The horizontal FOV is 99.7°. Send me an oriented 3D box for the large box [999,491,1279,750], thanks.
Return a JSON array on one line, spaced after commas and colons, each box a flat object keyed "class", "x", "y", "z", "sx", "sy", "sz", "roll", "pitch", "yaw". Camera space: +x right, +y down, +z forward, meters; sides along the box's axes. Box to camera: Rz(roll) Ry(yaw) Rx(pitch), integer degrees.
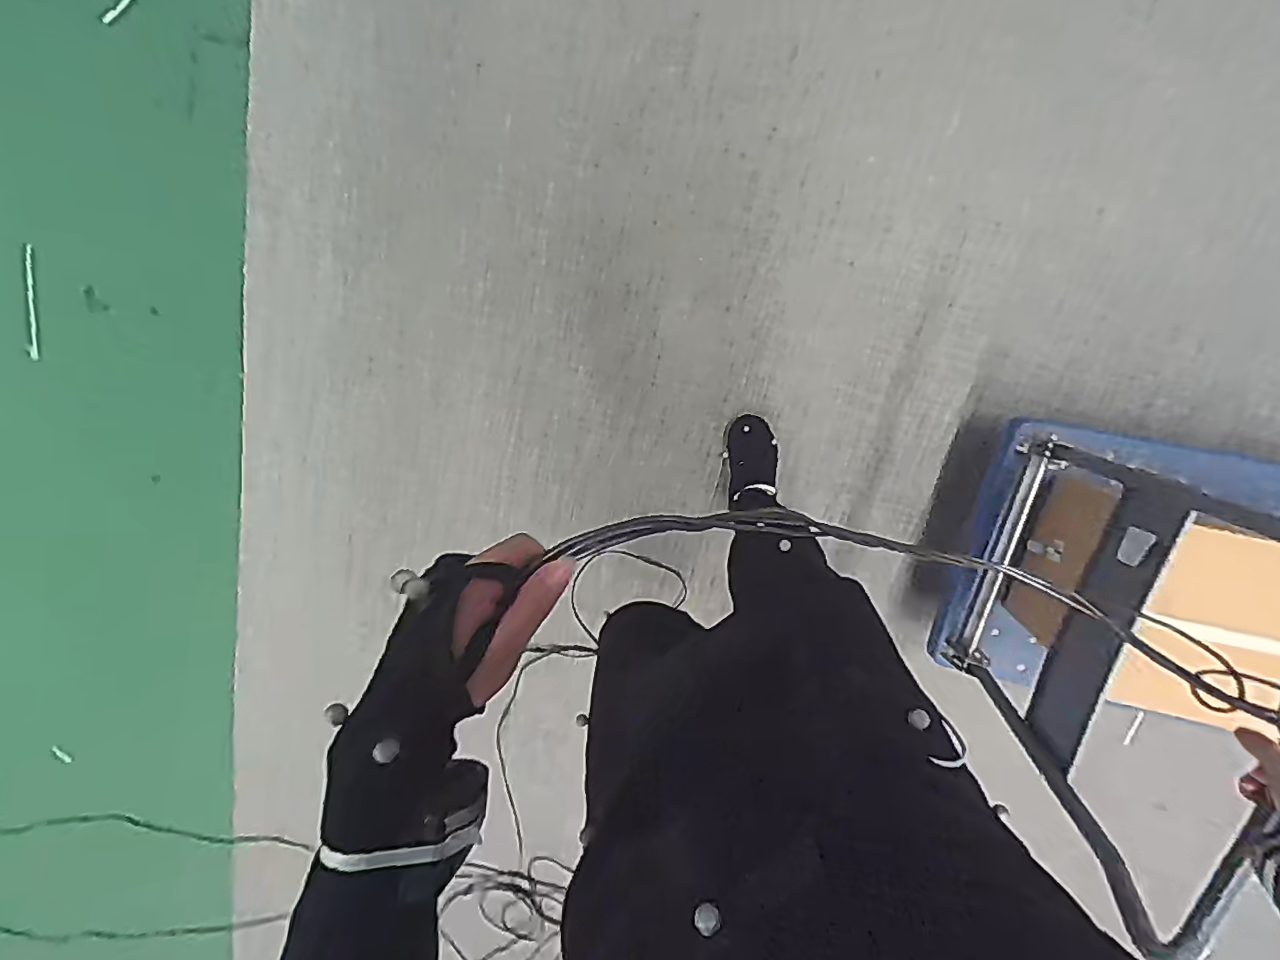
[{"class": "large box", "x": 0.976, "y": 0.235, "z": 0.984, "sx": 0.408, "sy": 0.320, "sz": 0.320, "roll": 13, "pitch": 105, "yaw": 4}]
